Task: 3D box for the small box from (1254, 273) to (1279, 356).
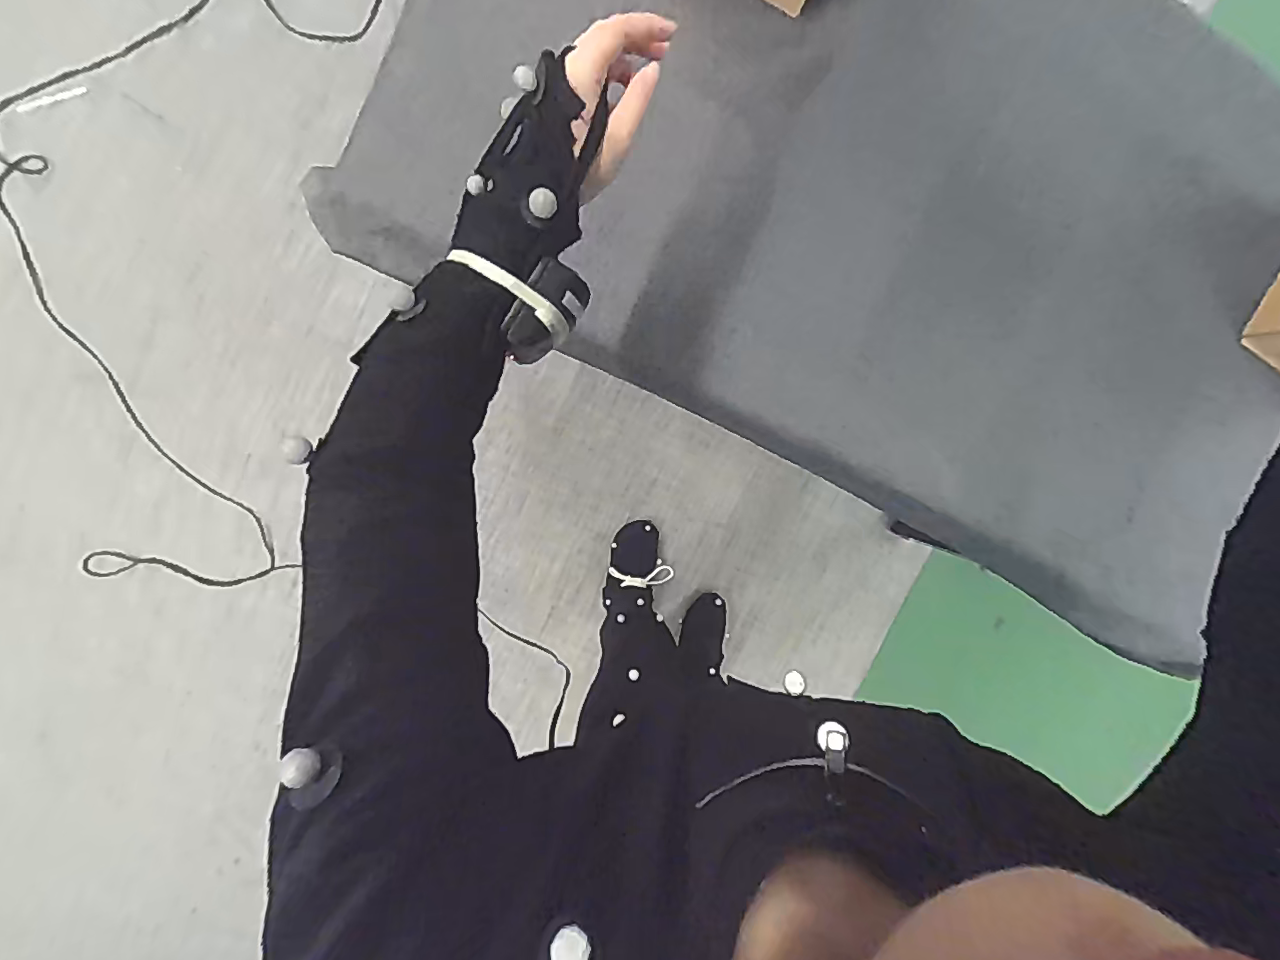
[{"bbox_3d":[0.827,-0.204,0.562,0.168,0.176,0.179,29,94,-8],"label":"small box"}]
